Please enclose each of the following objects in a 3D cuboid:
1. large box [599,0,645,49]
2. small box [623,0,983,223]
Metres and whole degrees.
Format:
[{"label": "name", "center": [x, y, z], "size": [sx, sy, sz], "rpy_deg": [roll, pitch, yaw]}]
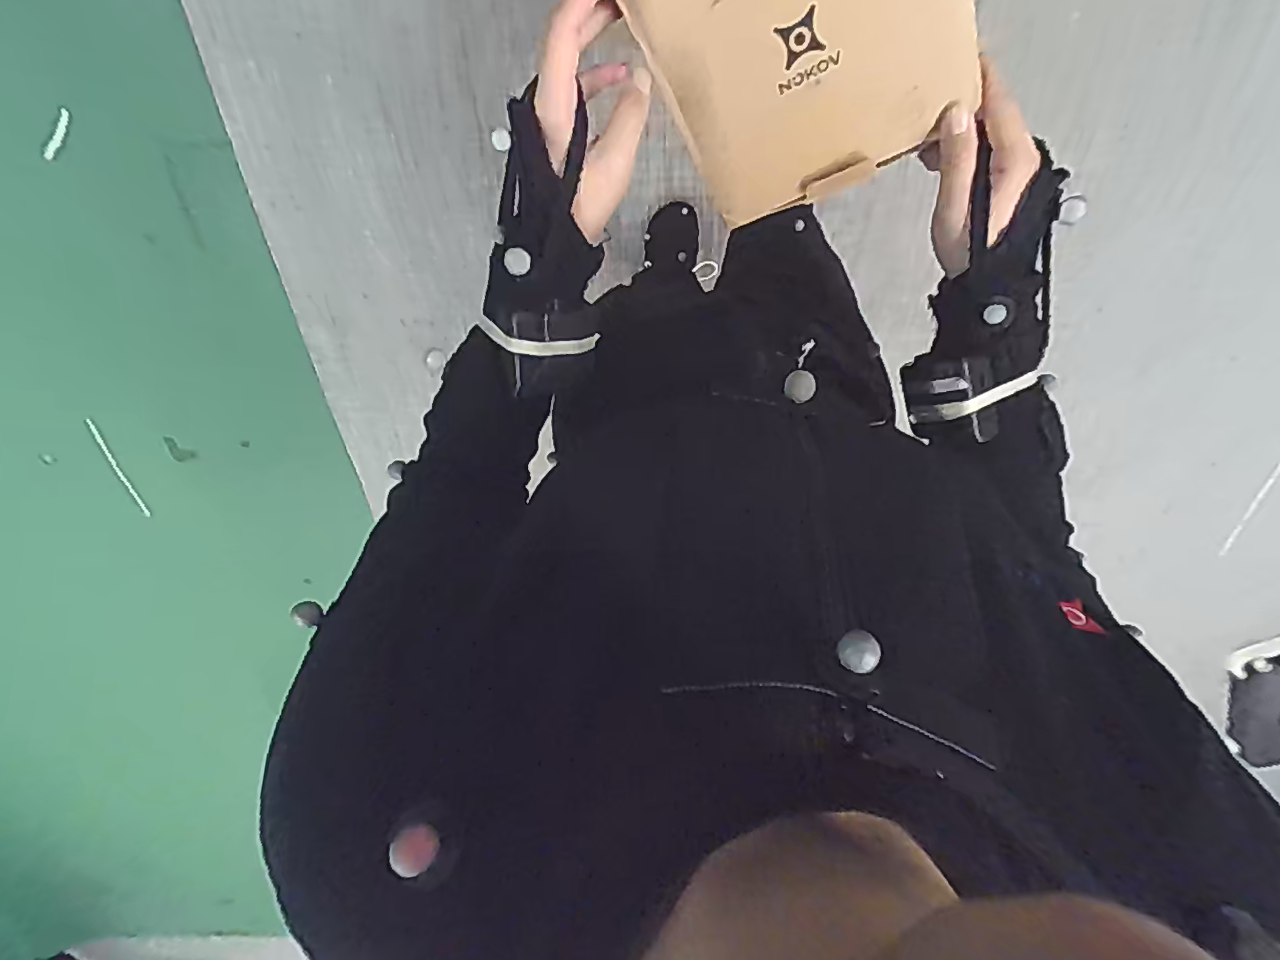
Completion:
[{"label": "large box", "center": [0.146, -0.835, 0.786], "size": [0.408, 0.320, 0.320], "rpy_deg": [3, 123, -3]}, {"label": "small box", "center": [0.105, -0.315, 0.346], "size": [0.168, 0.176, 0.179], "rpy_deg": [-12, 141, 31]}]
